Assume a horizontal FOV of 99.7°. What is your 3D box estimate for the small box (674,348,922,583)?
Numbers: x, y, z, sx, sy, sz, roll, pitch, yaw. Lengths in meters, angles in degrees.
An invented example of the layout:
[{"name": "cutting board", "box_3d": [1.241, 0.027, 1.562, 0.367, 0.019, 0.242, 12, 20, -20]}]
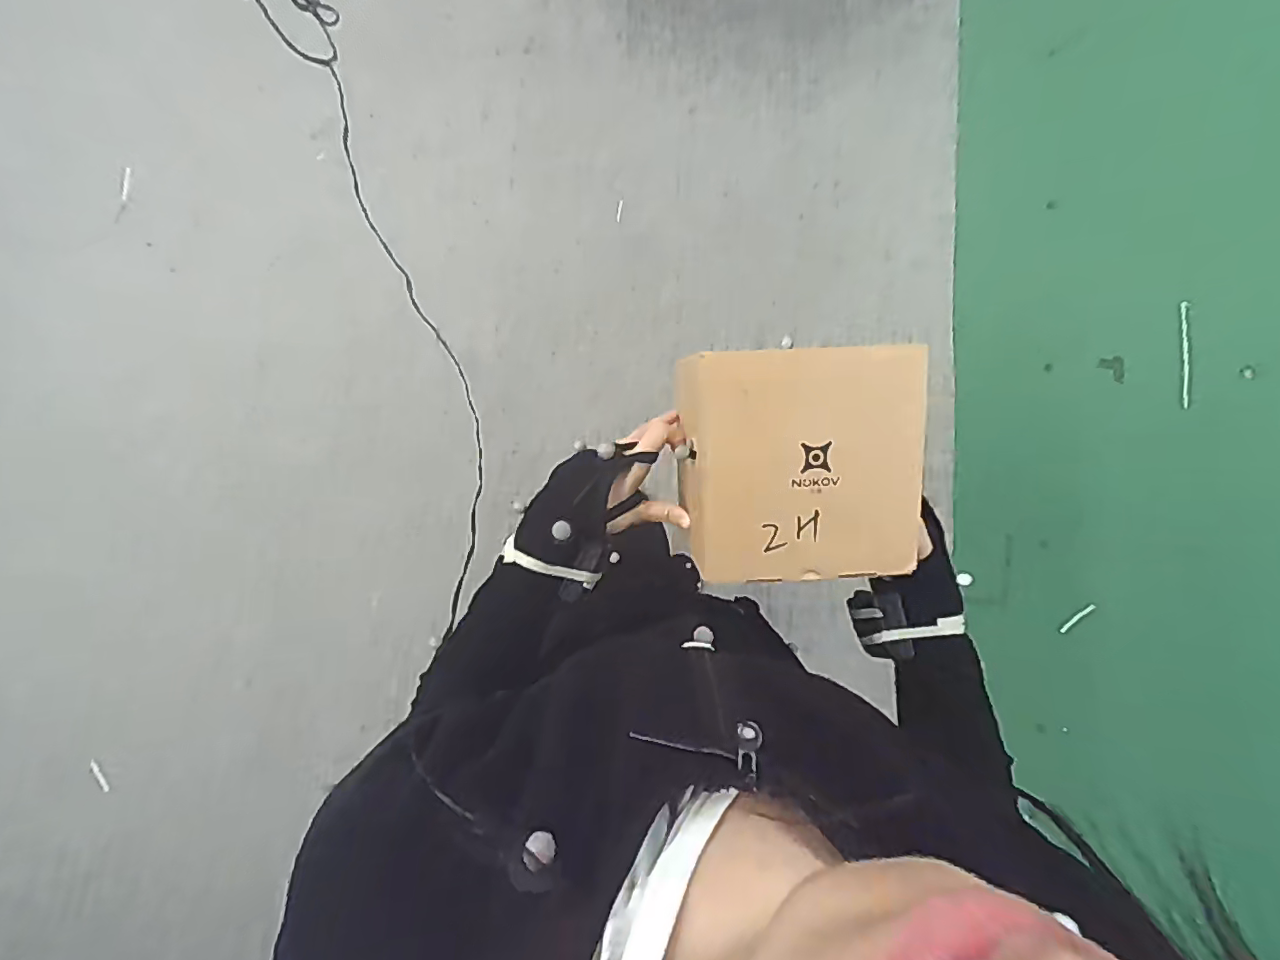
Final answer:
[{"name": "small box", "box_3d": [0.123, -0.022, 0.485, 0.168, 0.176, 0.179, -2, 100, -4]}]
